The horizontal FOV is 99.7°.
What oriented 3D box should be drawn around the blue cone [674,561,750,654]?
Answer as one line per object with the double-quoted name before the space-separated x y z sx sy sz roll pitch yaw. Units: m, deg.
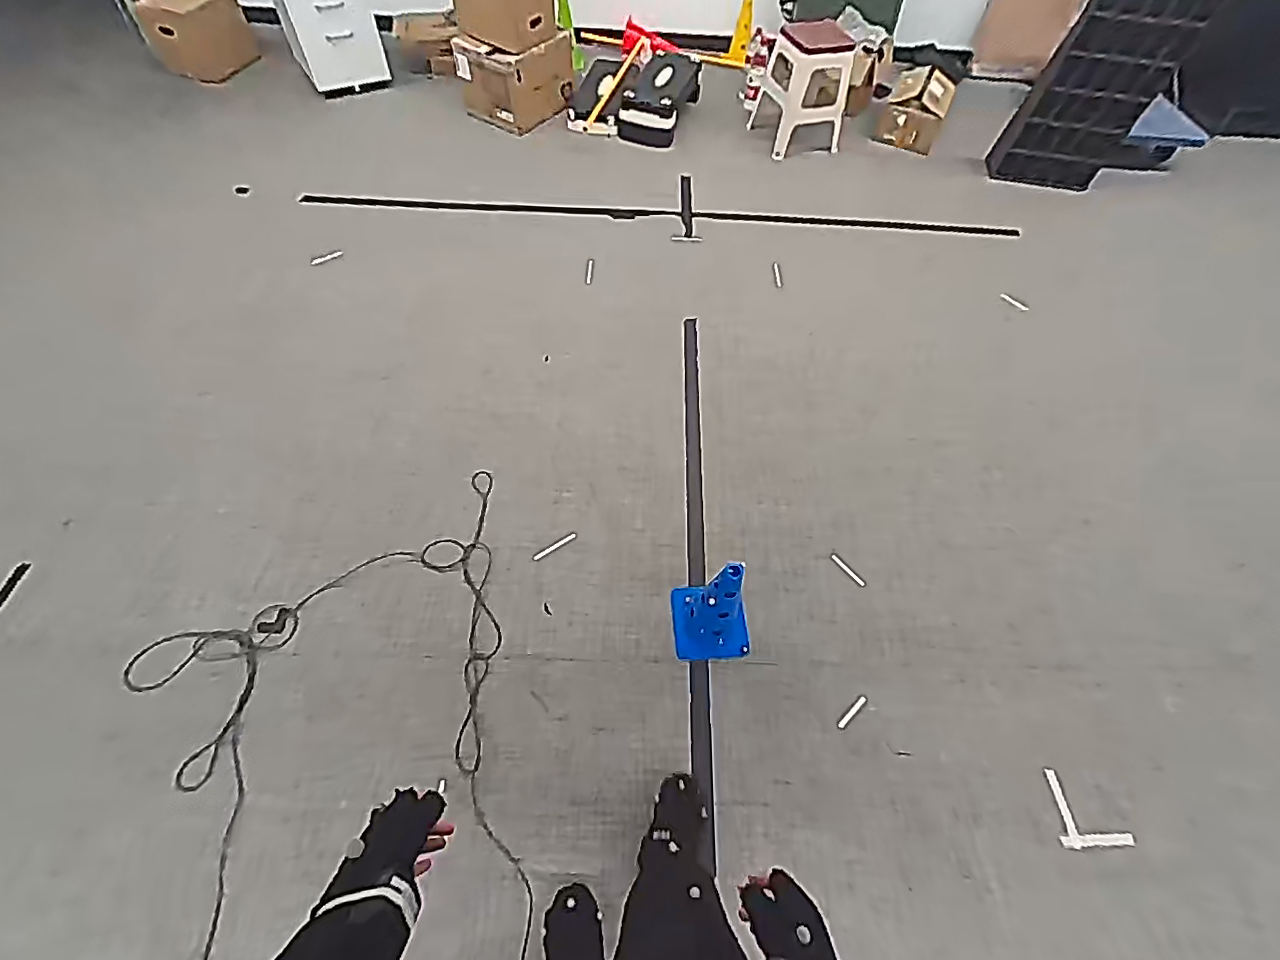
"blue cone" 0.202 0.294 1.343 0.192 0.380 0.193 1 58 -4
